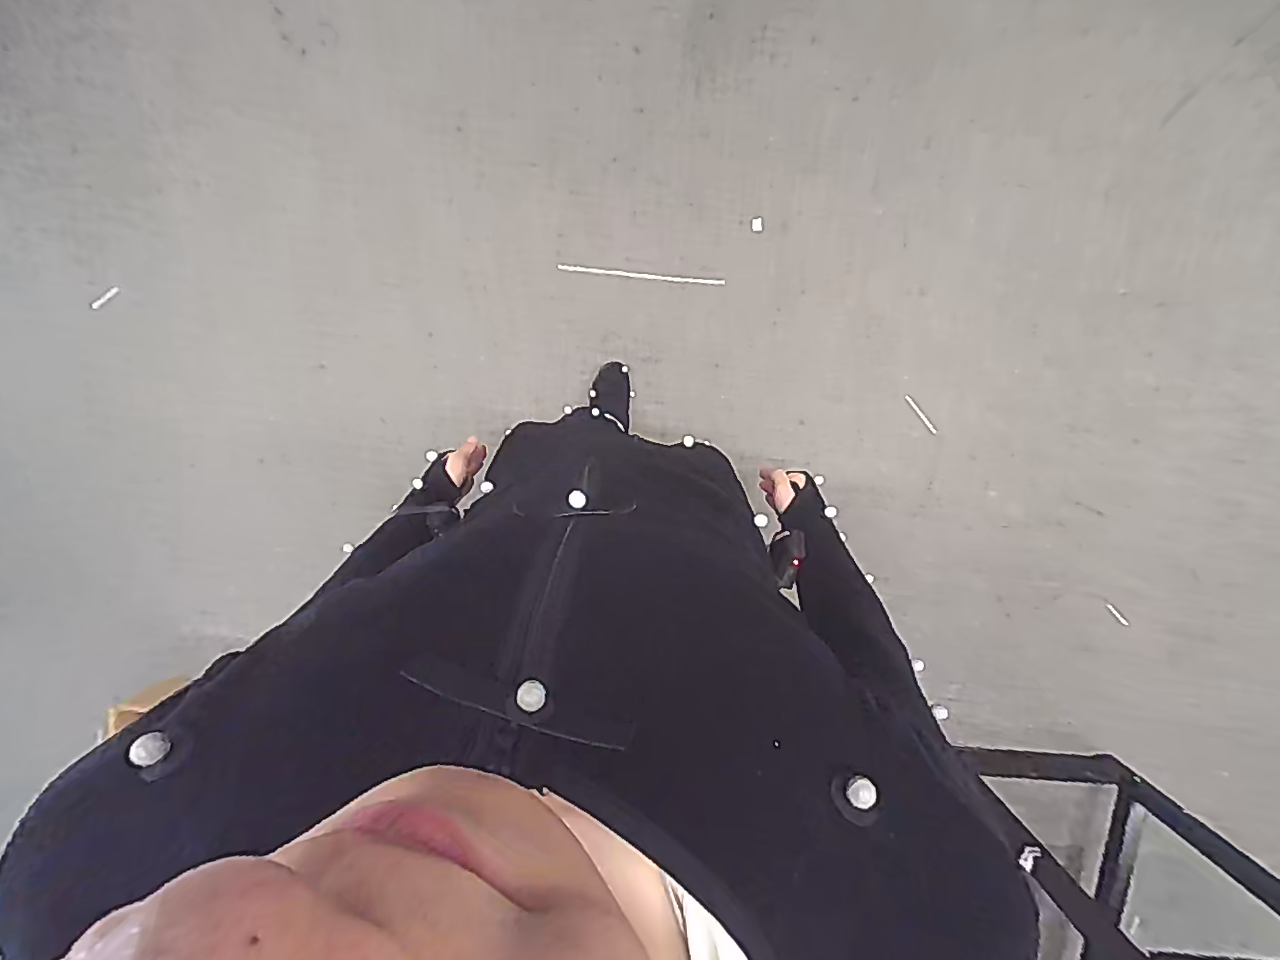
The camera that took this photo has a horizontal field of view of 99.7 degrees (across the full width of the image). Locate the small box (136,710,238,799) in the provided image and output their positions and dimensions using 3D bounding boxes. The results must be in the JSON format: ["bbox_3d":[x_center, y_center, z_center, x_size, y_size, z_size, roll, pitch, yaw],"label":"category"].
[{"bbox_3d":[-1.346,0.814,1.617,0.179,0.176,0.168,9,98,-1],"label":"small box"}]
